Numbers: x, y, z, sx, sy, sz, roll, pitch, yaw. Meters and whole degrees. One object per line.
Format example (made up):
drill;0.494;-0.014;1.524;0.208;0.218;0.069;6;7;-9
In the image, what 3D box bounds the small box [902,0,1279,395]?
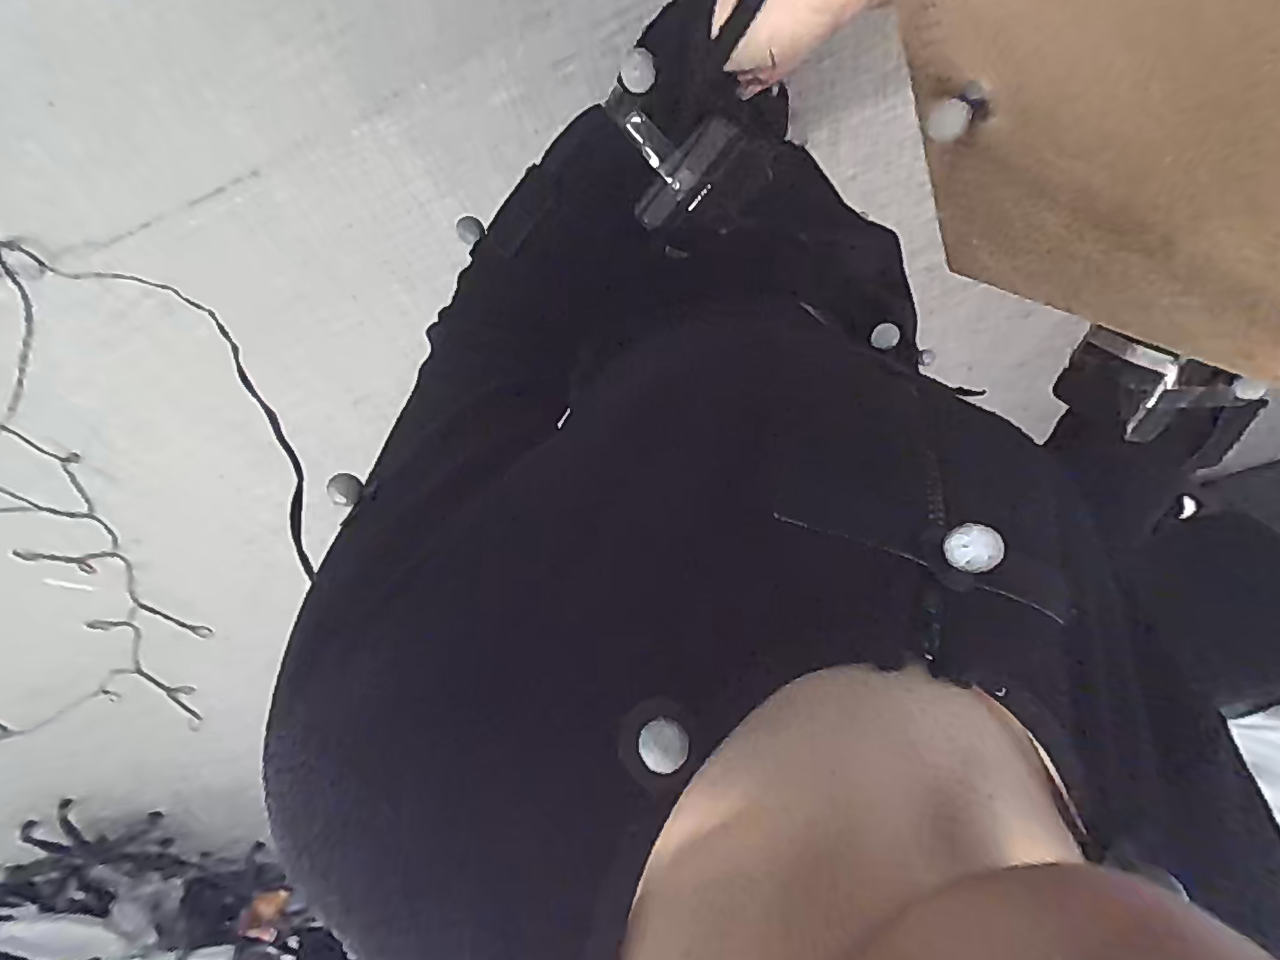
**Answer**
small box;0.214;-0.166;0.176;0.168;0.176;0.179;-30;123;9
